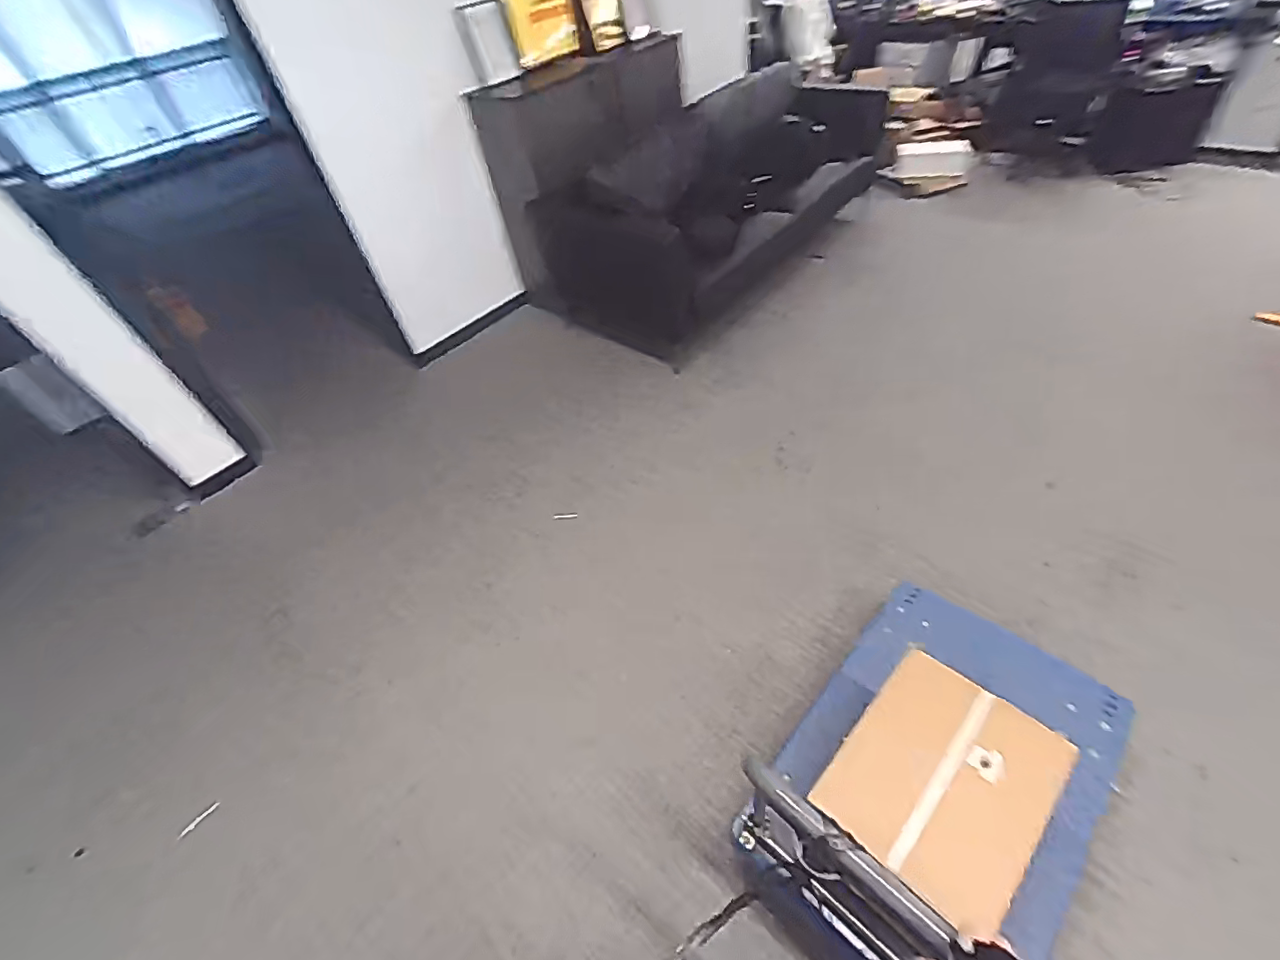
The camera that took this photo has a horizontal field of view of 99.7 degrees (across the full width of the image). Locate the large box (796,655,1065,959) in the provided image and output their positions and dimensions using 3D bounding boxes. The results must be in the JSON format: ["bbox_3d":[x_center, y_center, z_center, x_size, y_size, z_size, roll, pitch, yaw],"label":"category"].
[{"bbox_3d":[0.565,0.659,1.101,0.408,0.320,0.320,-38,52,-26],"label":"large box"}]
